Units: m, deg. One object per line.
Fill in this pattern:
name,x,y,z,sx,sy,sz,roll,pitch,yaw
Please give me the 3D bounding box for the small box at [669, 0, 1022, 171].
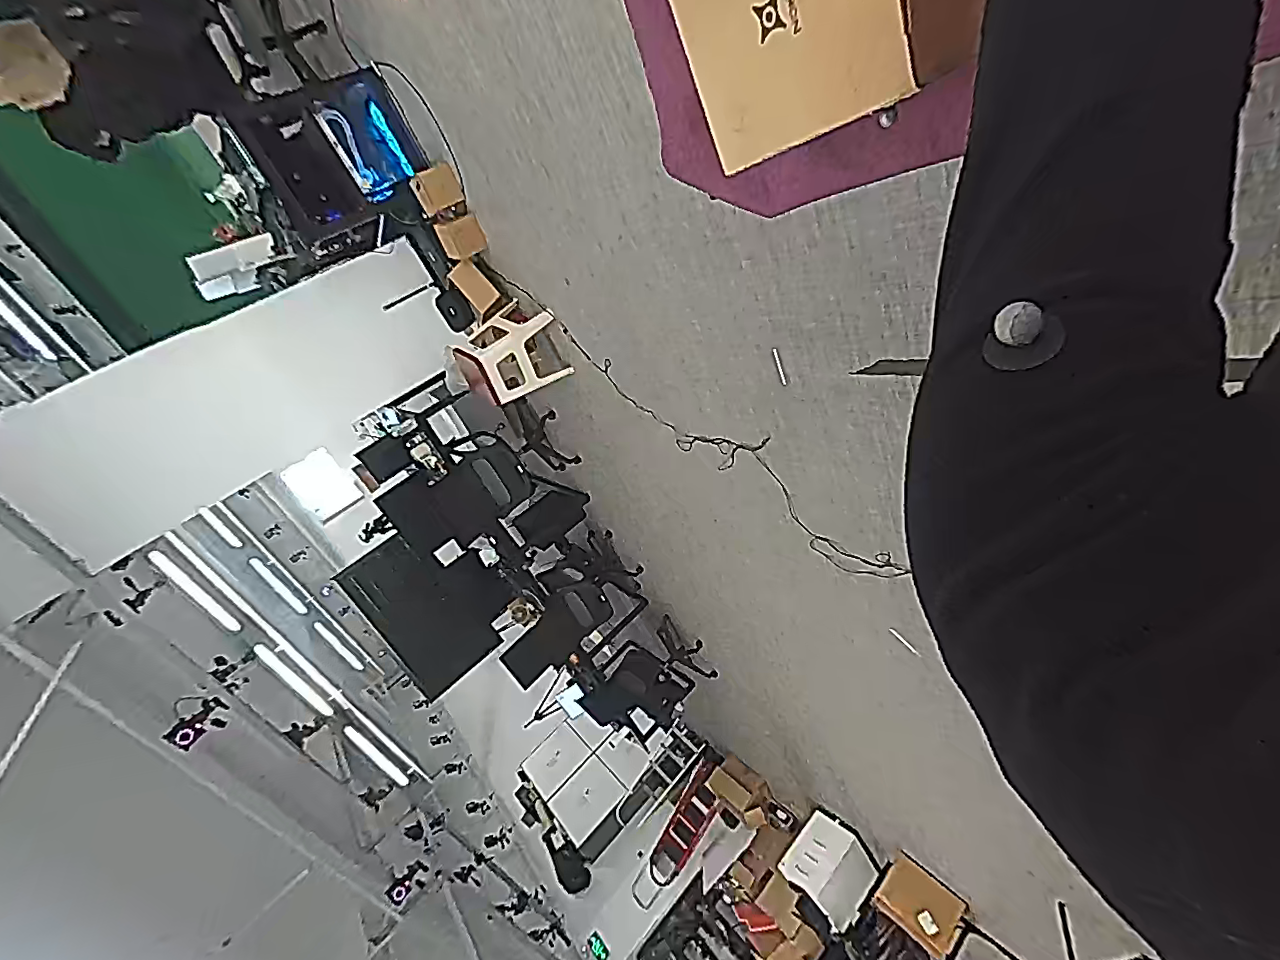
small box,0.150,-0.372,0.410,0.179,0.176,0.168,12,135,54
